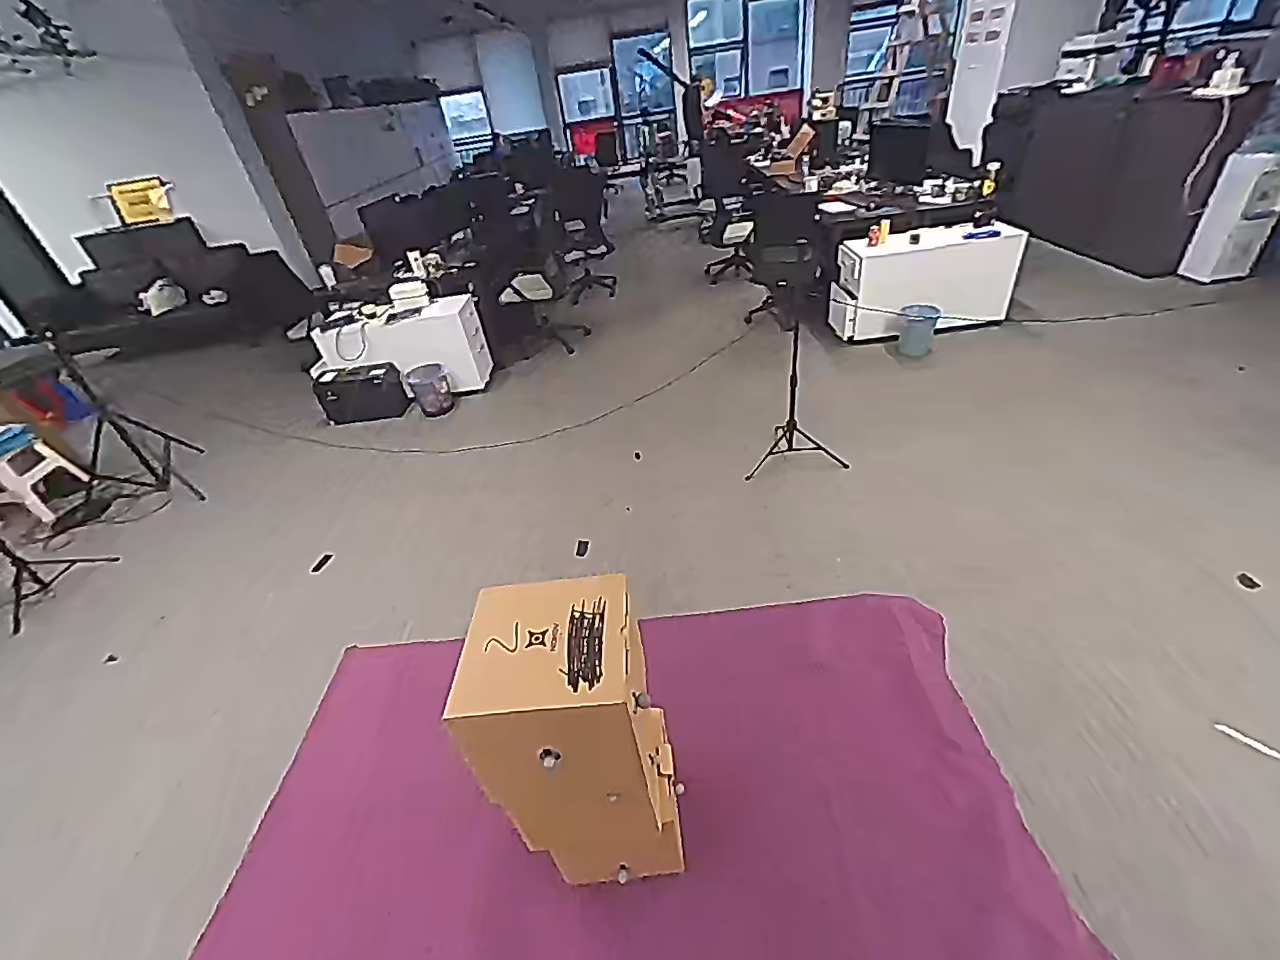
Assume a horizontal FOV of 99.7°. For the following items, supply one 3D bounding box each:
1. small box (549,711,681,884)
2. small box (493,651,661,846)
[{"bbox_3d":[-0.033,0.477,0.813,0.179,0.176,0.168,-7,35,1],"label":"small box"},{"bbox_3d":[-0.072,0.354,0.711,0.179,0.176,0.168,-7,35,2],"label":"small box"}]
